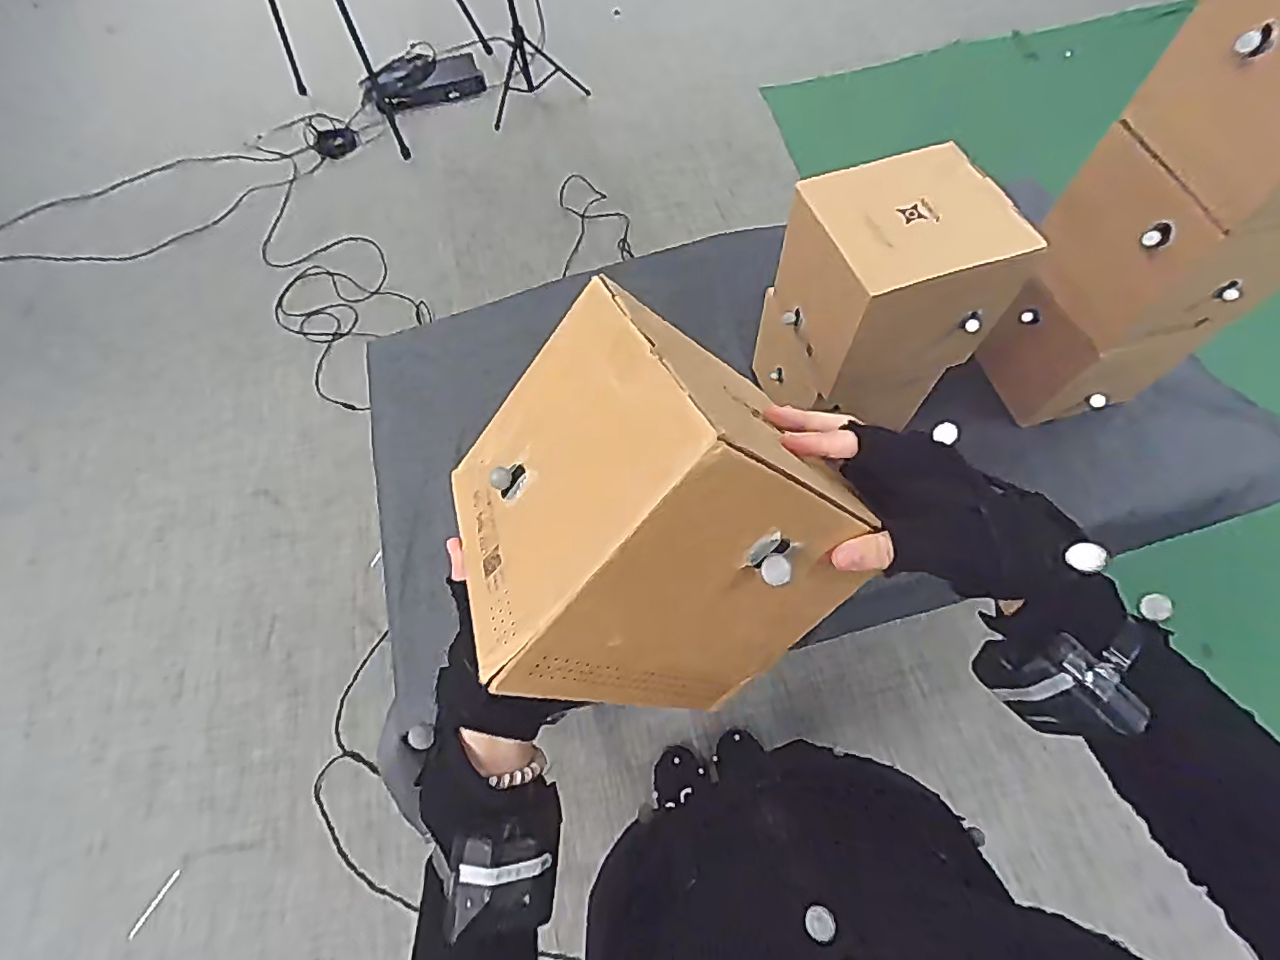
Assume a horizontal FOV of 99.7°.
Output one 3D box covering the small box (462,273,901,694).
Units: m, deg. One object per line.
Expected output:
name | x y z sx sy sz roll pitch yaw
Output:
small box | 0.014 0.014 0.340 0.176 0.179 0.168 -49 42 21

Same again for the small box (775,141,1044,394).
small box | 0.267 -0.220 0.588 0.179 0.176 0.168 -16 64 -3

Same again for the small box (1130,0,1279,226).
small box | 0.571 -0.344 0.439 0.168 0.176 0.179 -11 64 0

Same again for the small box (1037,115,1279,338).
small box | 0.584 -0.276 0.588 0.168 0.176 0.179 -12 64 -1
